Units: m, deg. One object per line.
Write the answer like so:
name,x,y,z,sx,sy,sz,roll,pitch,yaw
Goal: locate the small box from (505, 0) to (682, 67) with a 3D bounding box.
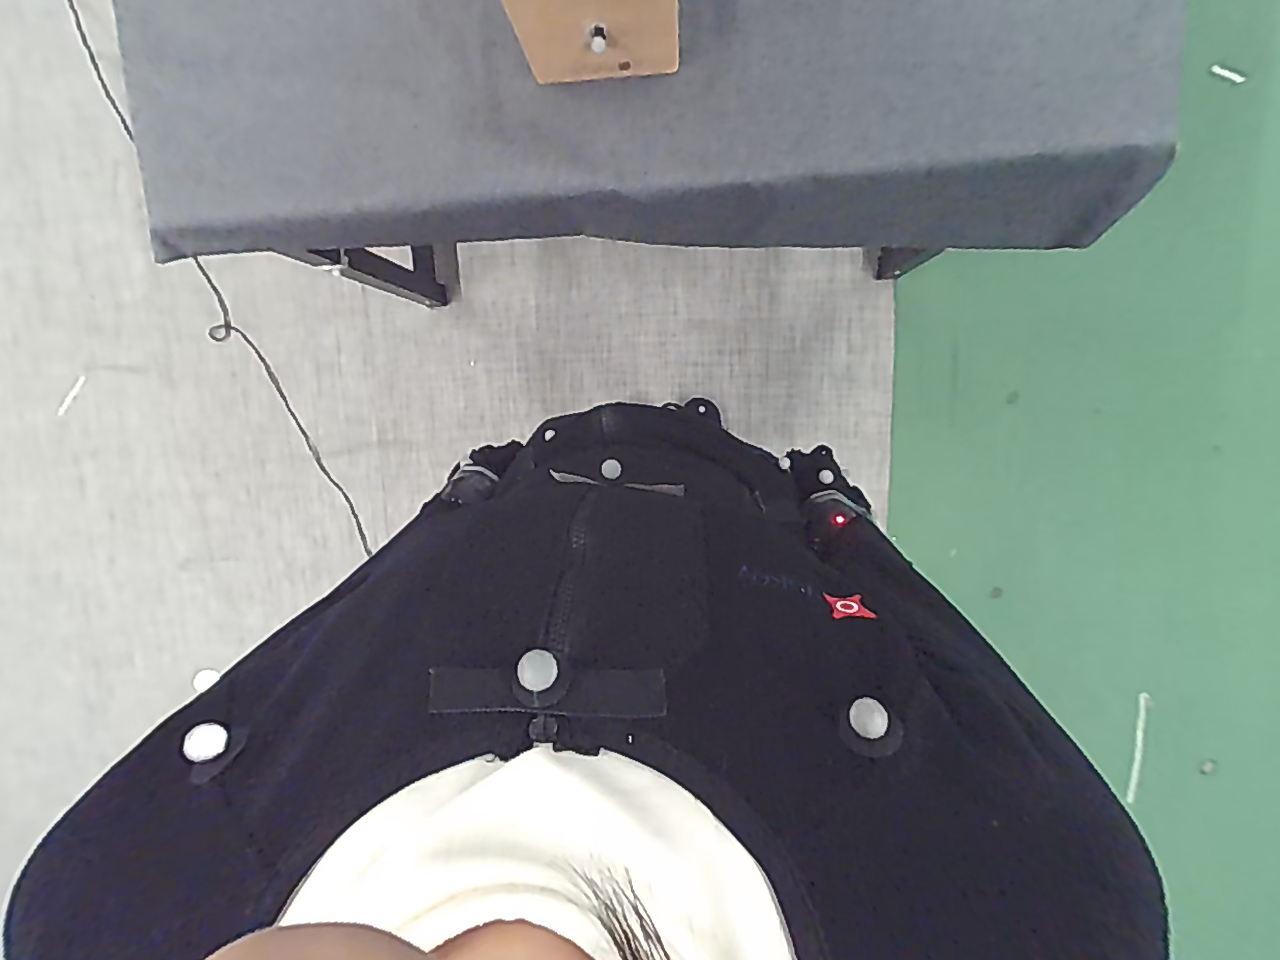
small box,-0.046,-0.543,0.529,0.168,0.176,0.179,-2,99,6
